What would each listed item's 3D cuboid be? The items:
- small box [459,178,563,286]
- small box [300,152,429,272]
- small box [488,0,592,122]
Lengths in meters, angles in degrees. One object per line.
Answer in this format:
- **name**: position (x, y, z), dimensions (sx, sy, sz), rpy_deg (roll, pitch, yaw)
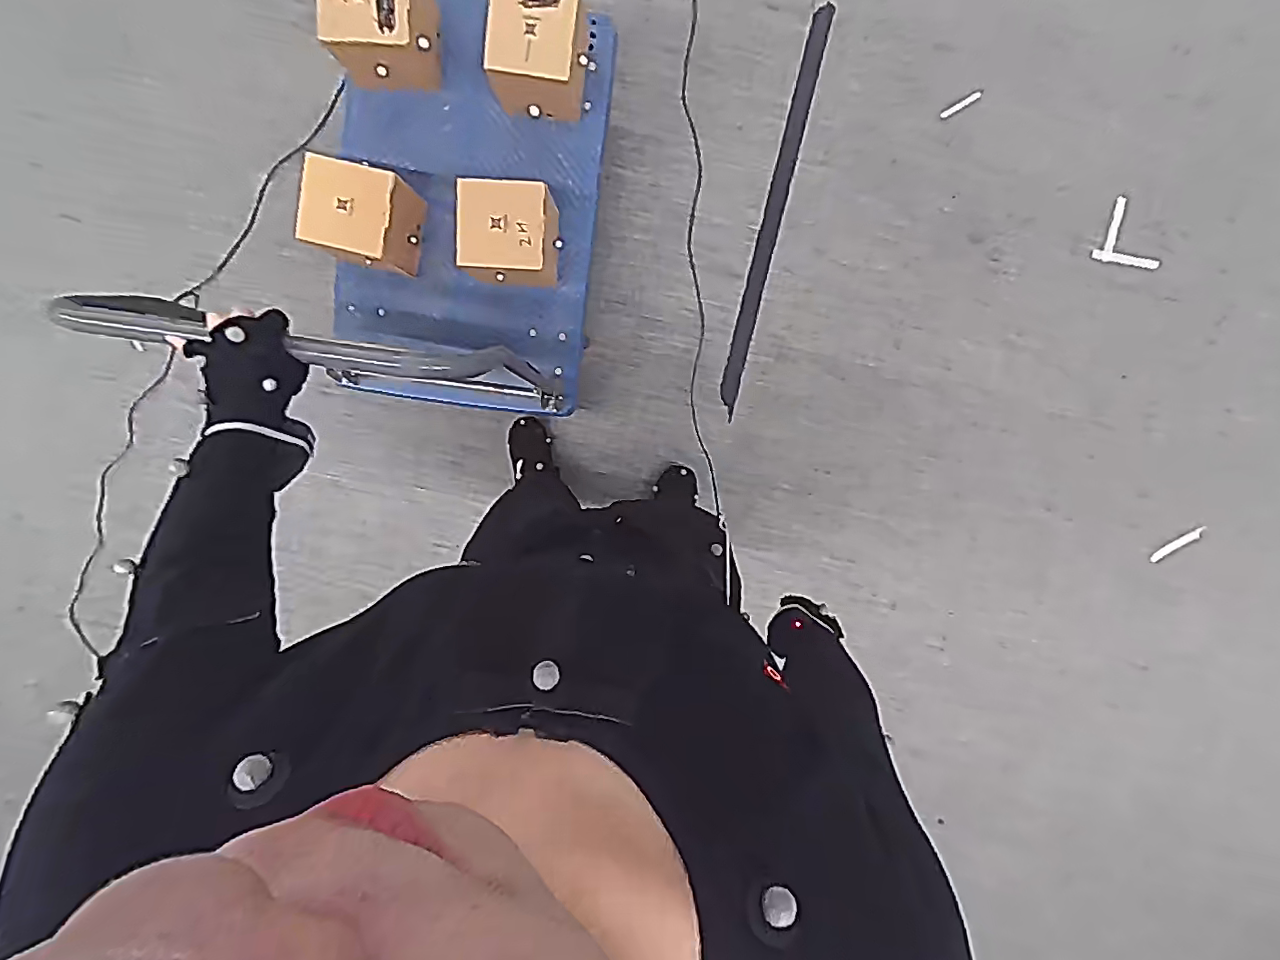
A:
- **small box**: position (-0.266, -0.515, 1.141), dimensions (0.179, 0.176, 0.168), rpy_deg (3, 99, 0)
- **small box**: position (-0.573, -0.553, 1.140), dimensions (0.179, 0.176, 0.168), rpy_deg (12, 98, -3)
- **small box**: position (-0.194, -0.866, 1.087), dimensions (0.168, 0.176, 0.179), rpy_deg (9, 100, 0)
